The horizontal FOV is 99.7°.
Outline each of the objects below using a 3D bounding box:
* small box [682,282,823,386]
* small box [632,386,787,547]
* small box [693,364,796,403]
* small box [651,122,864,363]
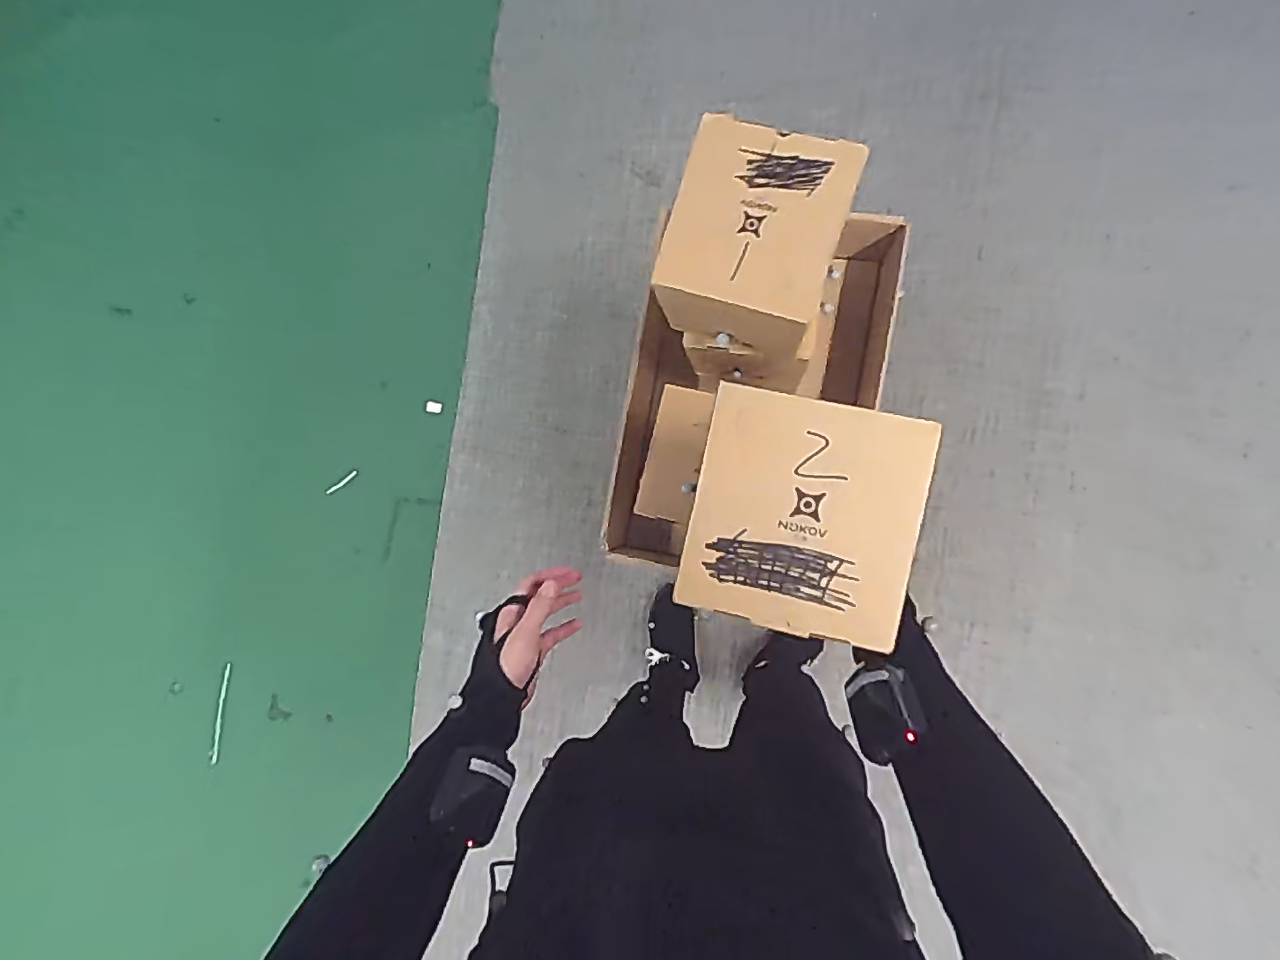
[{"bbox_3d":[0.160,-0.243,0.772,0.168,0.176,0.179,9,92,10],"label":"small box"},{"bbox_3d":[0.102,-0.014,0.768,0.168,0.176,0.179,15,89,10],"label":"small box"},{"bbox_3d":[0.192,-0.242,0.930,0.168,0.176,0.179,10,91,12],"label":"small box"},{"bbox_3d":[0.126,-0.251,0.611,0.168,0.176,0.179,19,93,10],"label":"small box"}]
